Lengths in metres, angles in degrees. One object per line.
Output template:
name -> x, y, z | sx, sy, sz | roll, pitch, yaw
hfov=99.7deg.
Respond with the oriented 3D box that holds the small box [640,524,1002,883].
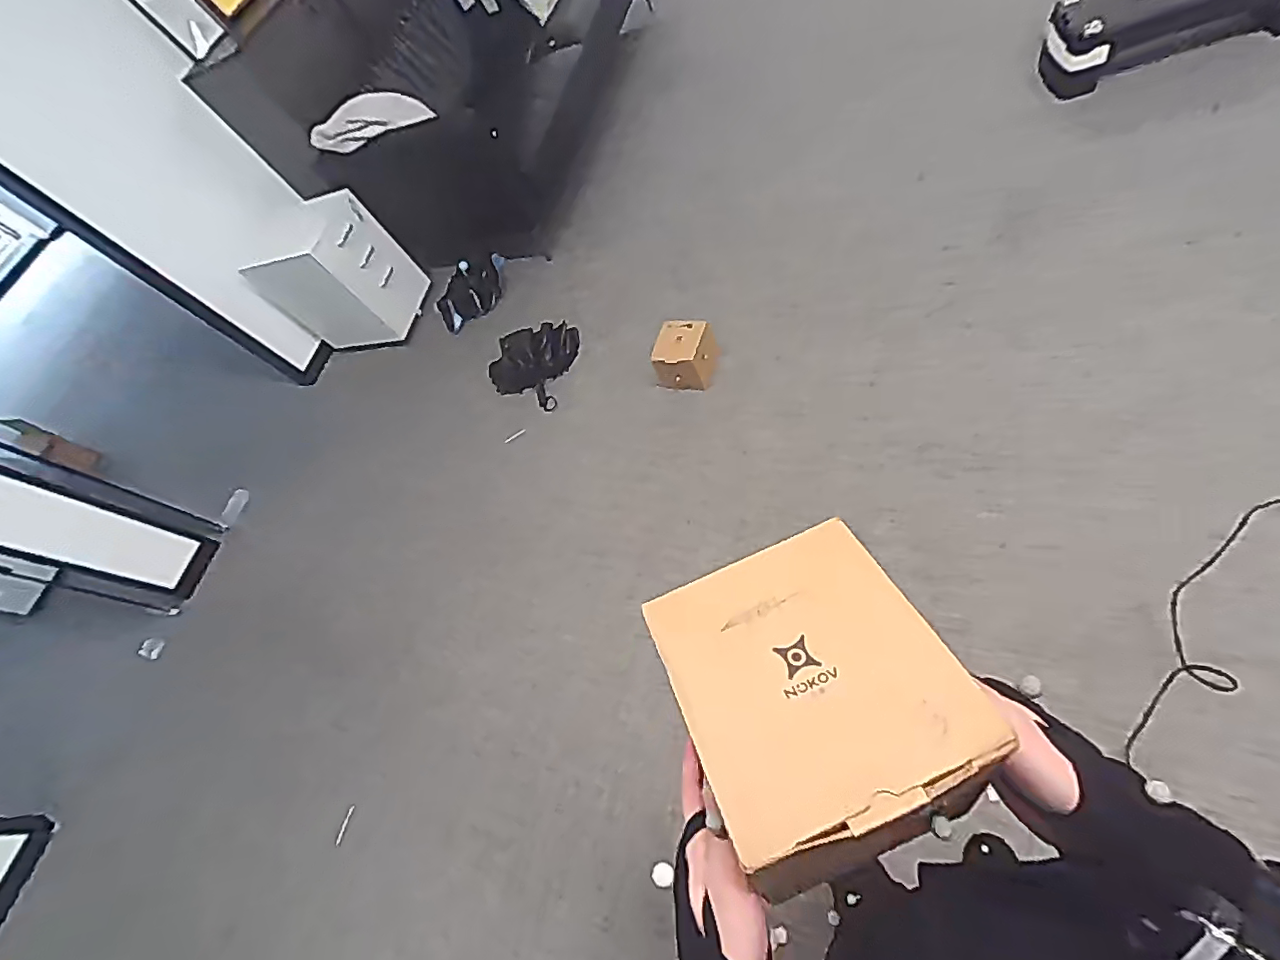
small box -> 0.119, 0.171, 0.406 | 0.168, 0.176, 0.179 | -23, 45, -3
